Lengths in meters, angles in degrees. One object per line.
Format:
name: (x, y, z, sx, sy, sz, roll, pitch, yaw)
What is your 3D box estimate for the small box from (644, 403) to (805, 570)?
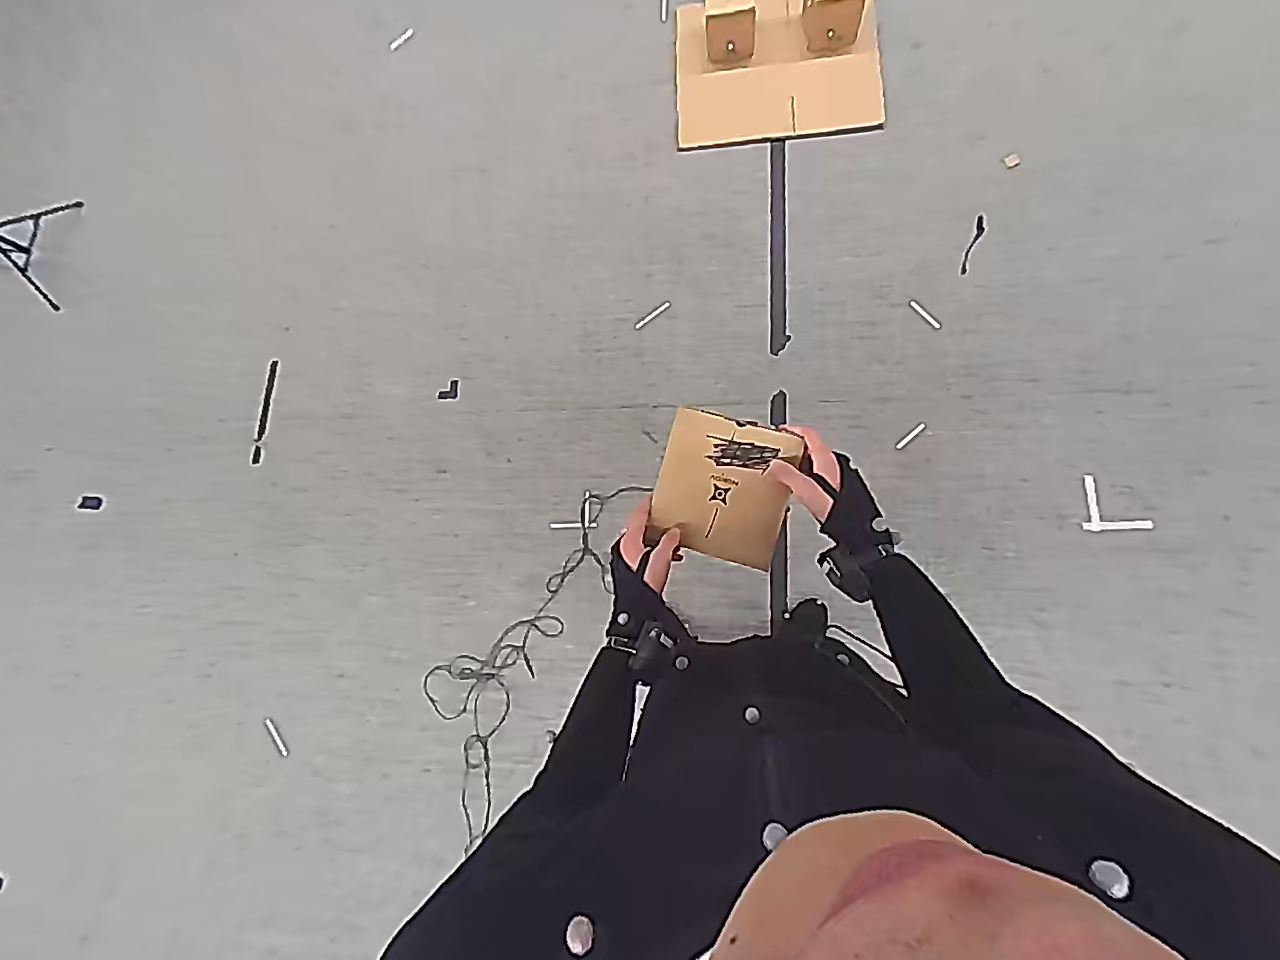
small box: (0.113, 0.005, 0.752, 0.168, 0.176, 0.179, 15, 94, 8)

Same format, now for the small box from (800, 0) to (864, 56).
small box: (0.648, -1.604, 1.841, 0.168, 0.176, 0.179, -5, 78, 8)

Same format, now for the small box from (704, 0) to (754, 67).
small box: (0.307, -1.600, 1.889, 0.168, 0.176, 0.179, -2, 79, 10)
